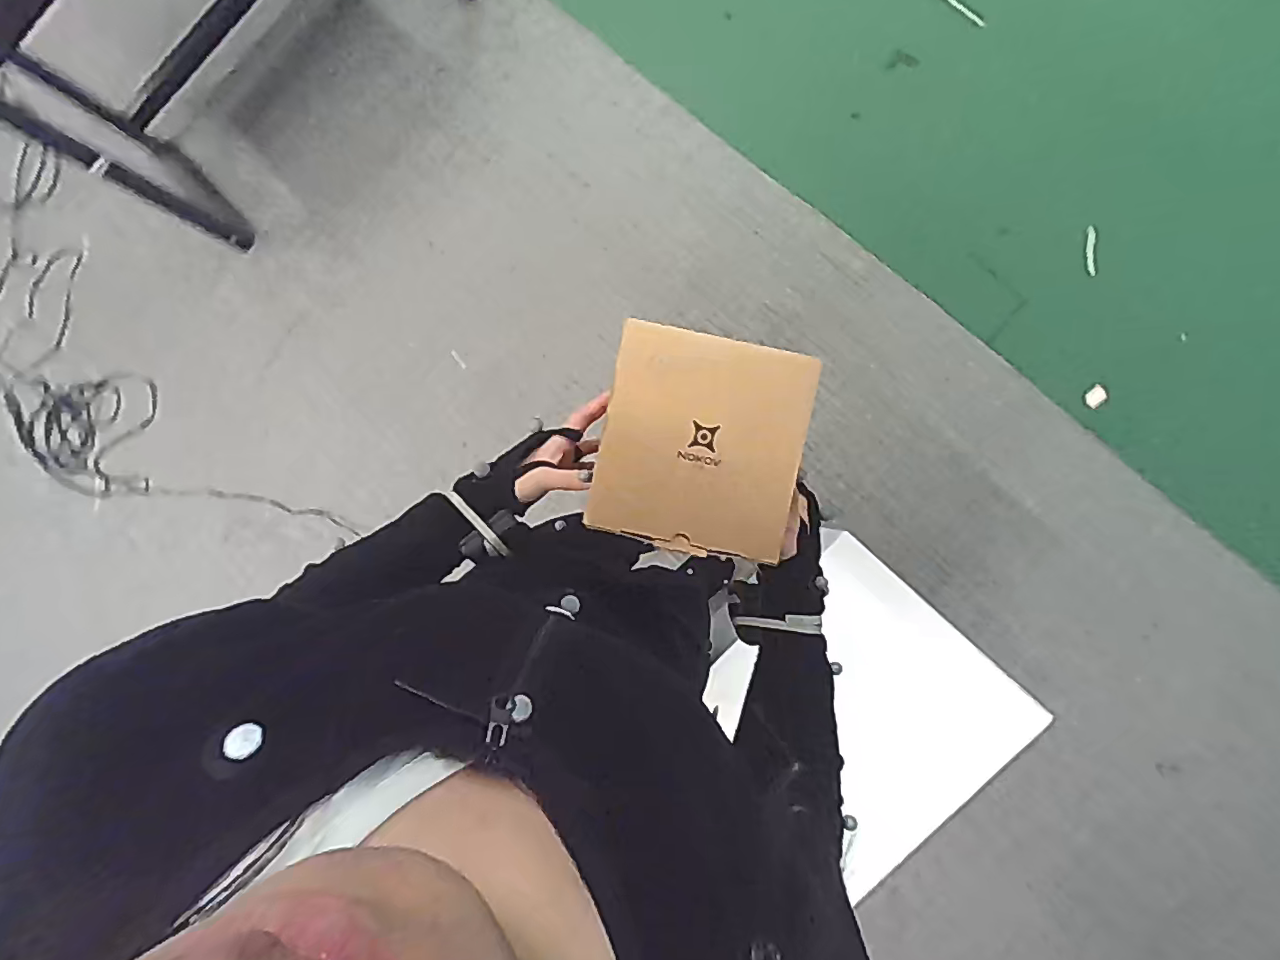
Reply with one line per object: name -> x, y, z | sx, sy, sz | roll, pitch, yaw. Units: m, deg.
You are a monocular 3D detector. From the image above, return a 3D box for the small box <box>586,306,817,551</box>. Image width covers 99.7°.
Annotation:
small box -> 0.048, -0.043, 0.515 | 0.168, 0.176, 0.179 | 10, 92, -1
